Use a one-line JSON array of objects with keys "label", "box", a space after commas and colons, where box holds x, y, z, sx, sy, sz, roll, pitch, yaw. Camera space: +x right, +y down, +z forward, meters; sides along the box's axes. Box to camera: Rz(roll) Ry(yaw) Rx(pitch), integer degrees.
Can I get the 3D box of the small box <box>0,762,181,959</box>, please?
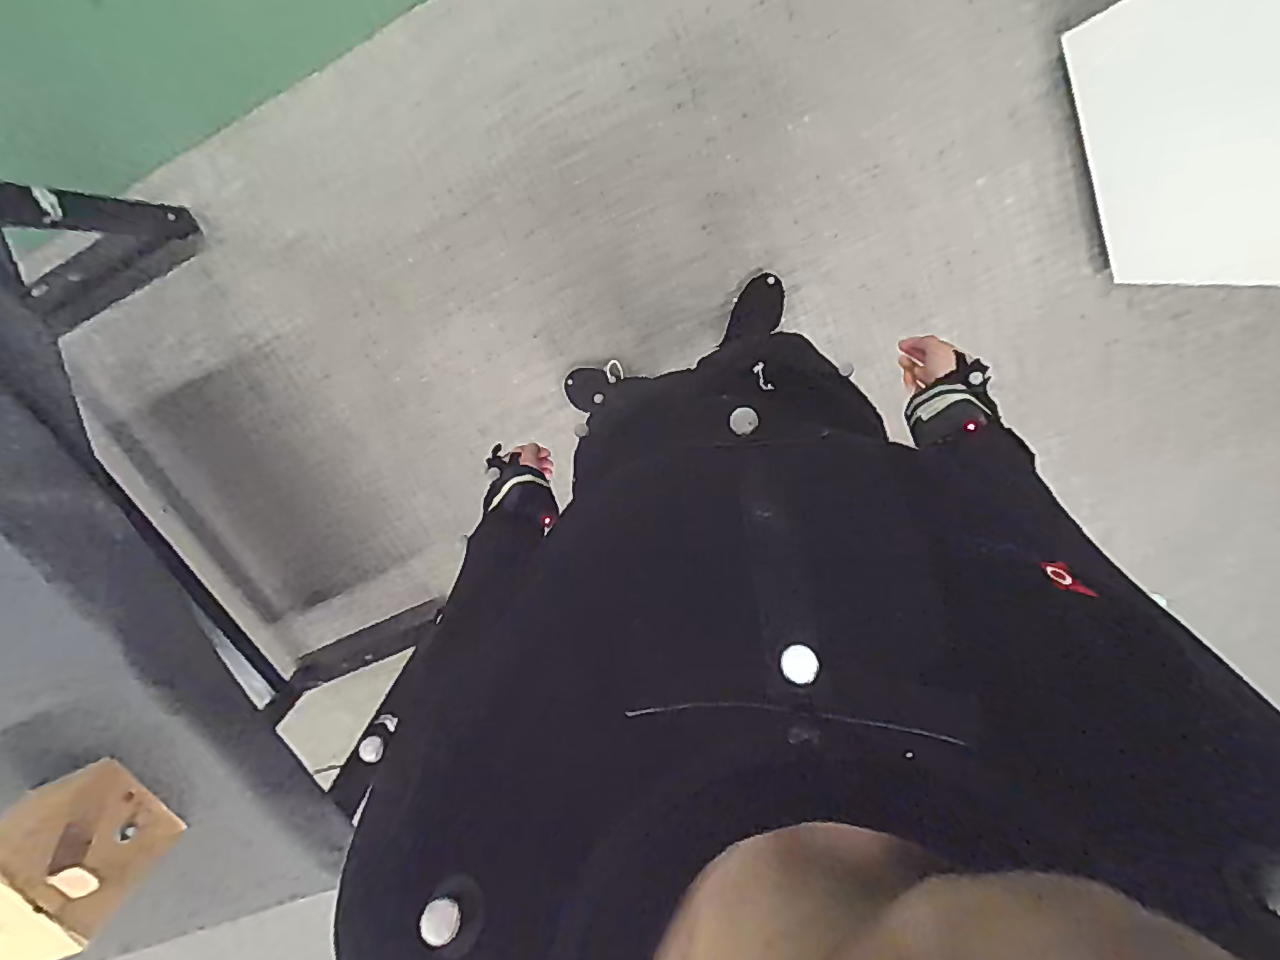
[{"label": "small box", "box": [-0.816, 0.539, 0.756, 0.179, 0.176, 0.168, -25, 107, 9]}]
